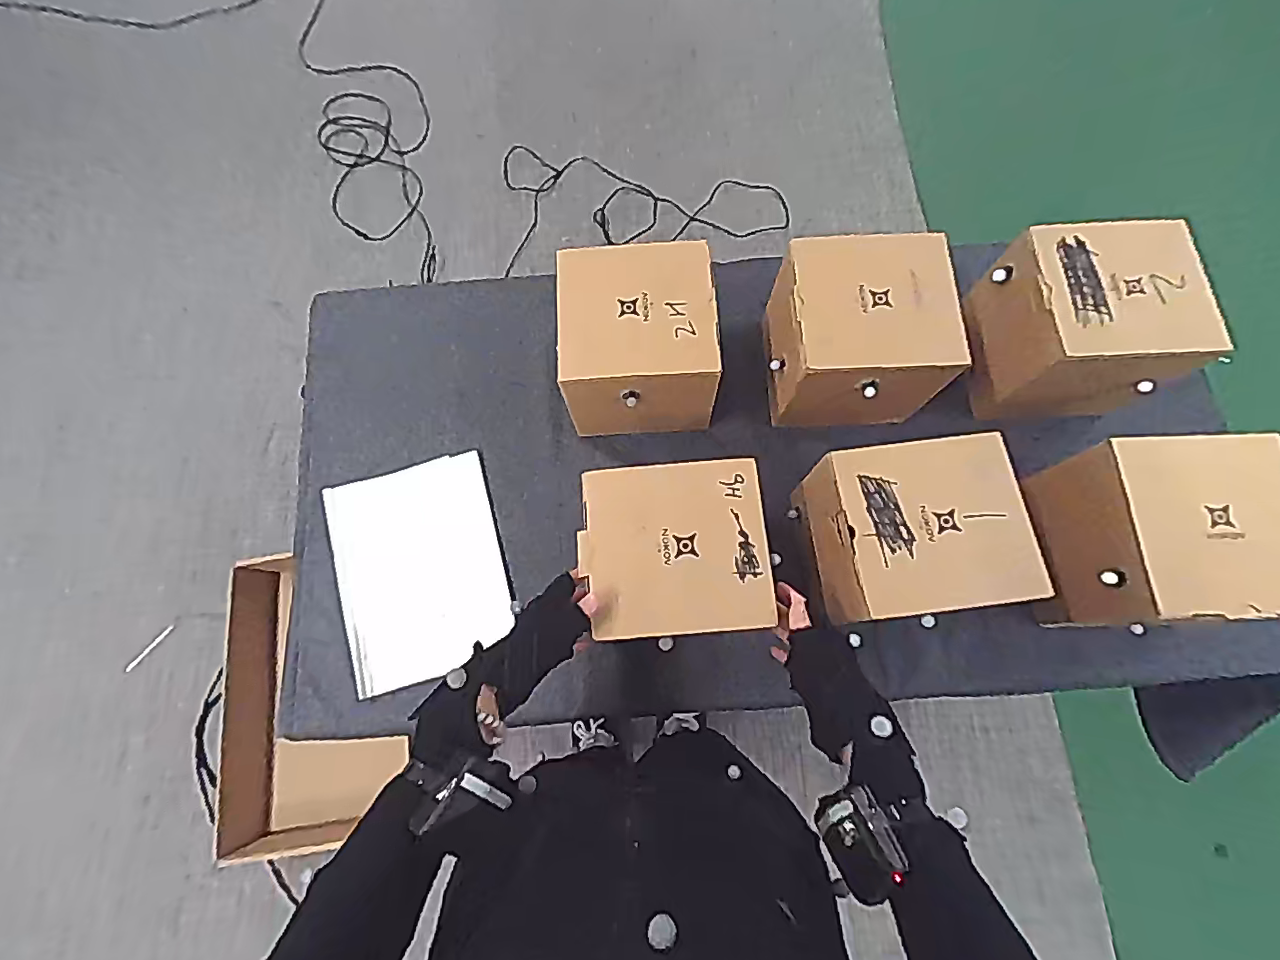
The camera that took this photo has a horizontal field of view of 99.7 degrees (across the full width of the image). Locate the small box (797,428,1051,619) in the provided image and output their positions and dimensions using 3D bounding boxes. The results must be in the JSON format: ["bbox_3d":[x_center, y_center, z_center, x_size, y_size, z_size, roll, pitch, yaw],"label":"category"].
[{"bbox_3d":[0.282,0.057,0.589,0.179,0.176,0.168,-6,73,-2],"label":"small box"}]

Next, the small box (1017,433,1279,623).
[{"bbox_3d":[0.544,0.061,0.585,0.168,0.176,0.179,-1,73,1],"label":"small box"}]
